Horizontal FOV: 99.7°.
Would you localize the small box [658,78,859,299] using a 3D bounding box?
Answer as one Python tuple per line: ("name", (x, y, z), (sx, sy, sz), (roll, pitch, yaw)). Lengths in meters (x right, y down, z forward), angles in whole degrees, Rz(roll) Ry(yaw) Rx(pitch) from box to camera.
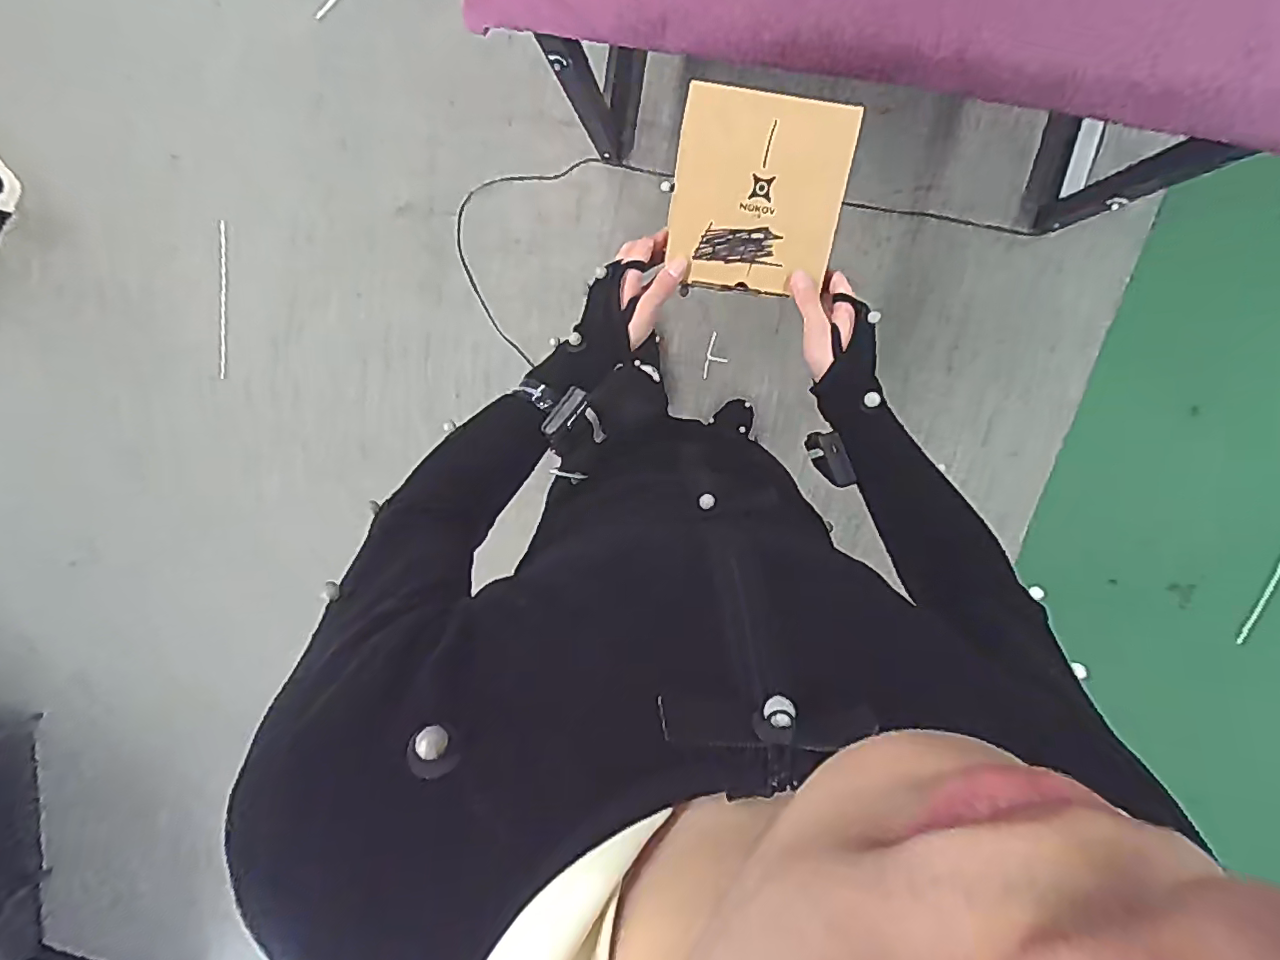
("small box", (0.114, -0.304, 0.602), (0.168, 0.176, 0.179), (8, 108, -2))
